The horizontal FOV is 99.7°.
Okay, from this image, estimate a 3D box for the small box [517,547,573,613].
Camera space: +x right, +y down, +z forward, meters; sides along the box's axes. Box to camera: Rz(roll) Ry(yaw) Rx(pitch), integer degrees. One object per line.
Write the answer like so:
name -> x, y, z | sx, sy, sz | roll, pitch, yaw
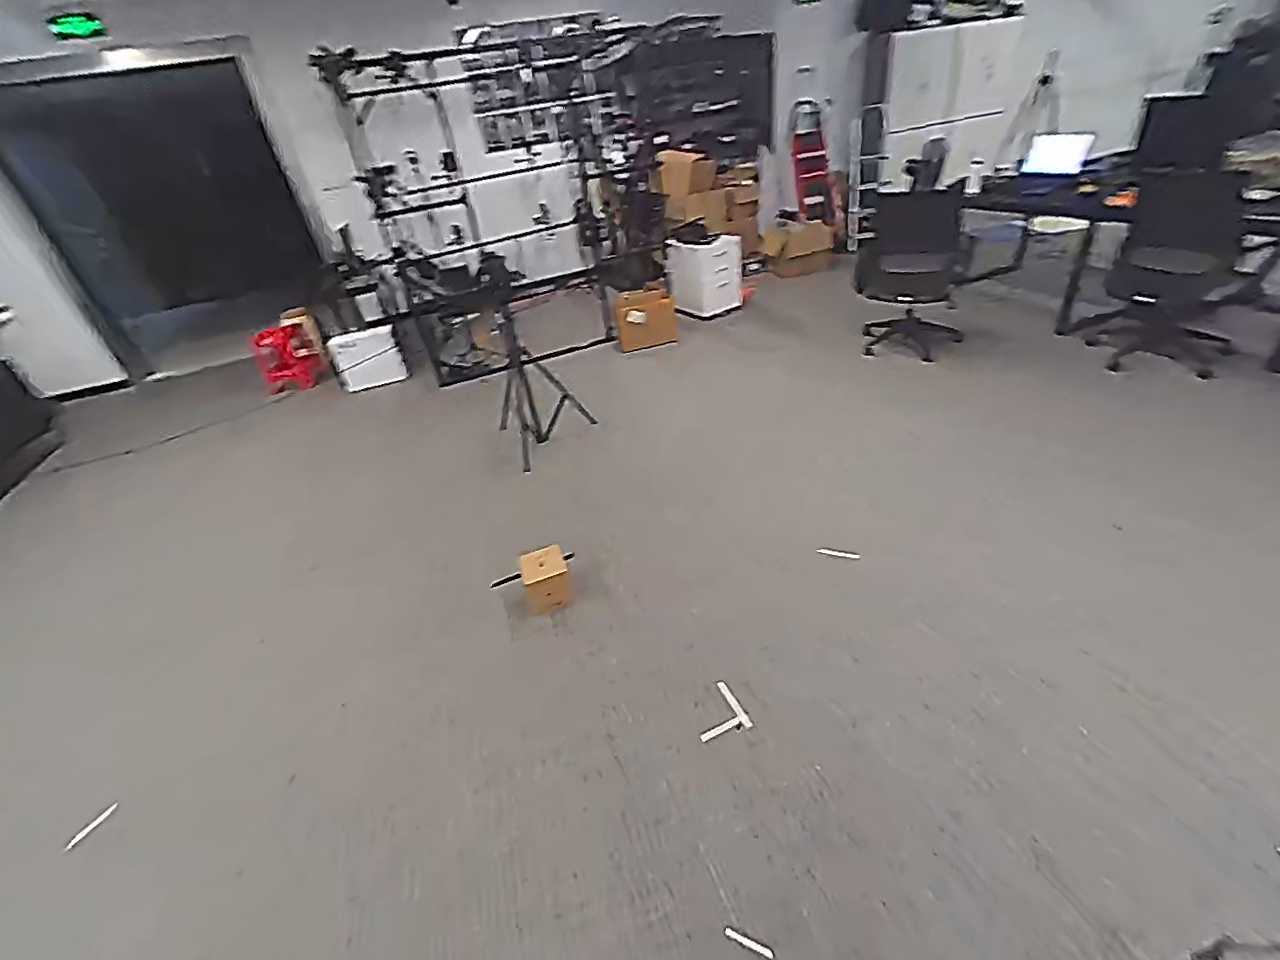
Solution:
small box -> -0.373, 0.399, 2.130 | 0.168, 0.176, 0.179 | -18, 34, -12
